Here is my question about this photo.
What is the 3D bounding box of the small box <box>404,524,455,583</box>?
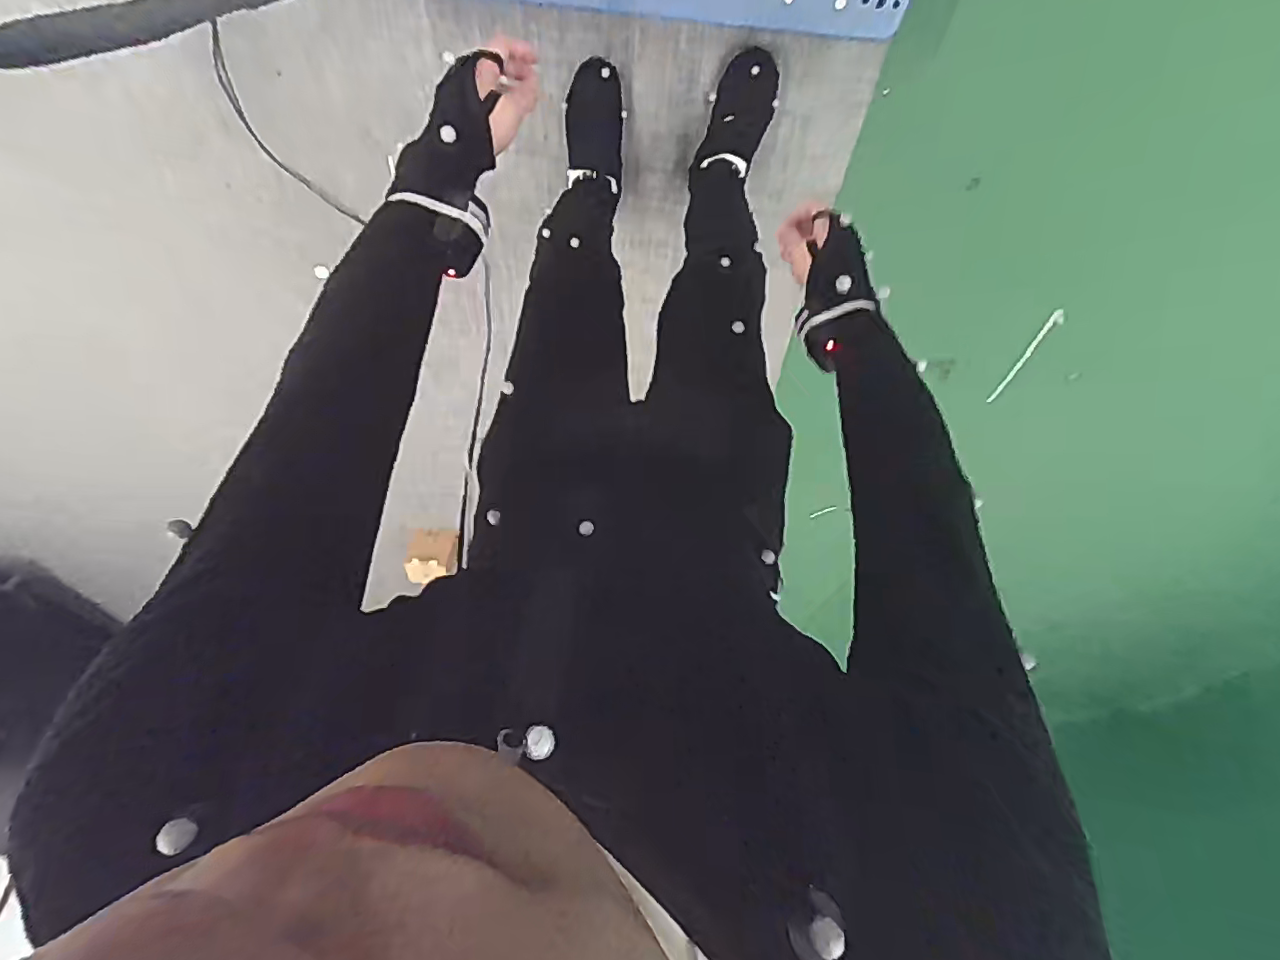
[{"bbox_3d":[-0.892,0.314,2.301,0.168,0.176,0.179,11,139,-12],"label":"small box"}]
